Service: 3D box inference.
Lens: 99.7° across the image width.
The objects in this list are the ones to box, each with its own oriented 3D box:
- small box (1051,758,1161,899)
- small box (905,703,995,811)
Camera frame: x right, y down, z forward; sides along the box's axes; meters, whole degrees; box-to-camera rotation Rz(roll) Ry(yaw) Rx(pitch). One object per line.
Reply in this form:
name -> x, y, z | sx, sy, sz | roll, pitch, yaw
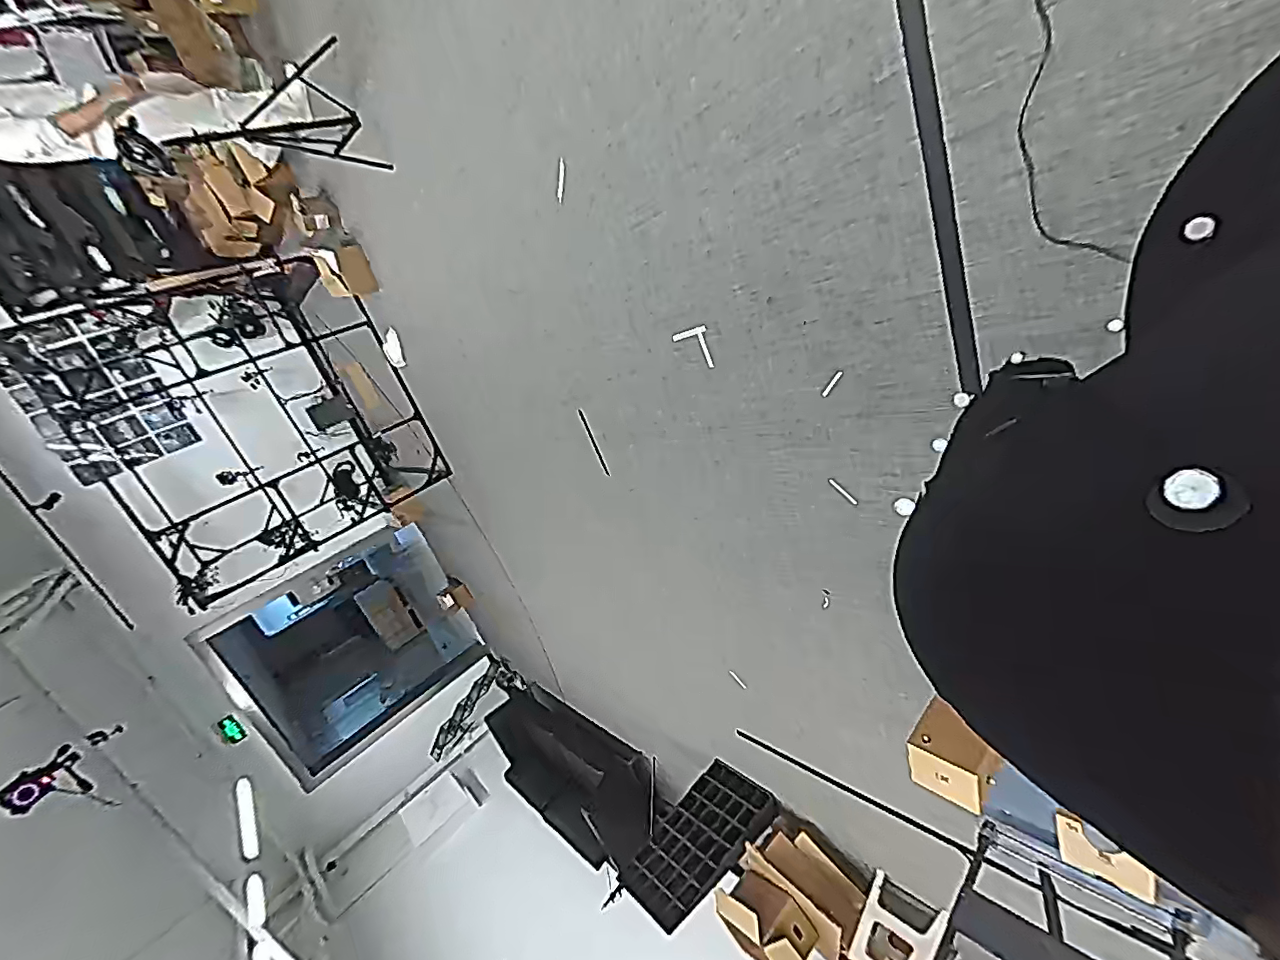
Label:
small box -> 1.076, 0.792, 1.245 | 0.168, 0.176, 0.179 | 6, 125, 50
small box -> 0.862, 0.754, 1.494 | 0.179, 0.176, 0.168 | 12, 129, 49
